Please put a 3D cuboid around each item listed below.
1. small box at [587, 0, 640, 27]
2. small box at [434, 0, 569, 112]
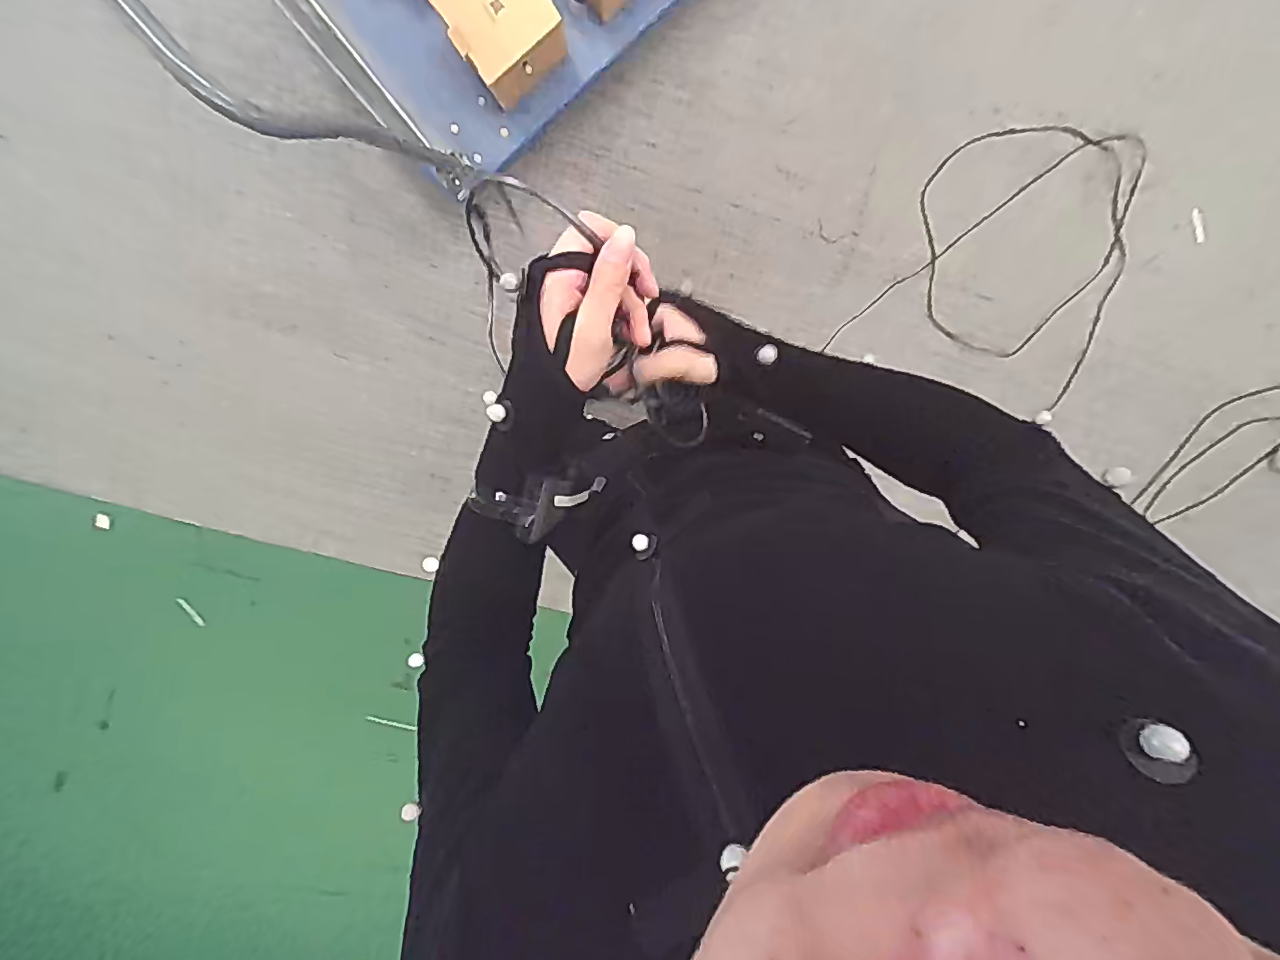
[{"bbox_3d":[-0.046,-0.982,0.971,0.179,0.176,0.168,-37,107,14],"label":"small box"},{"bbox_3d":[-0.248,-0.847,1.024,0.179,0.176,0.168,-34,109,12],"label":"small box"}]
